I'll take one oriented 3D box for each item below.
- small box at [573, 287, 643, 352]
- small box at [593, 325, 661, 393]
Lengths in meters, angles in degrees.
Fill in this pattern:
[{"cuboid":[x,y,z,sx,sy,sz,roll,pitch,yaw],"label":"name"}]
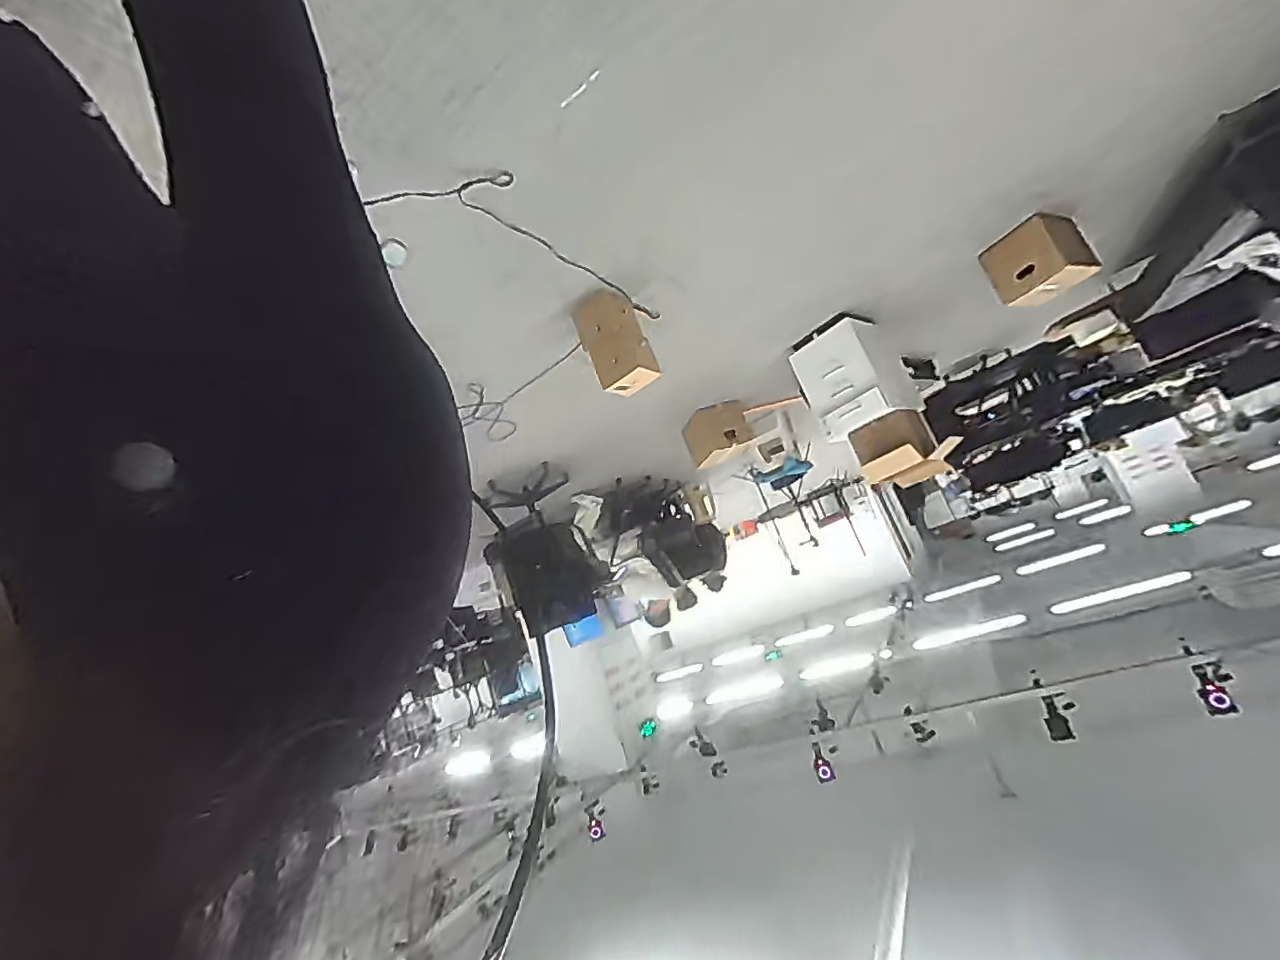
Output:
[{"cuboid":[-0.125,-0.594,2.030,0.179,0.176,0.168,-29,165,33],"label":"small box"},{"cuboid":[-0.056,-0.446,2.008,0.179,0.176,0.168,-29,166,30],"label":"small box"}]
